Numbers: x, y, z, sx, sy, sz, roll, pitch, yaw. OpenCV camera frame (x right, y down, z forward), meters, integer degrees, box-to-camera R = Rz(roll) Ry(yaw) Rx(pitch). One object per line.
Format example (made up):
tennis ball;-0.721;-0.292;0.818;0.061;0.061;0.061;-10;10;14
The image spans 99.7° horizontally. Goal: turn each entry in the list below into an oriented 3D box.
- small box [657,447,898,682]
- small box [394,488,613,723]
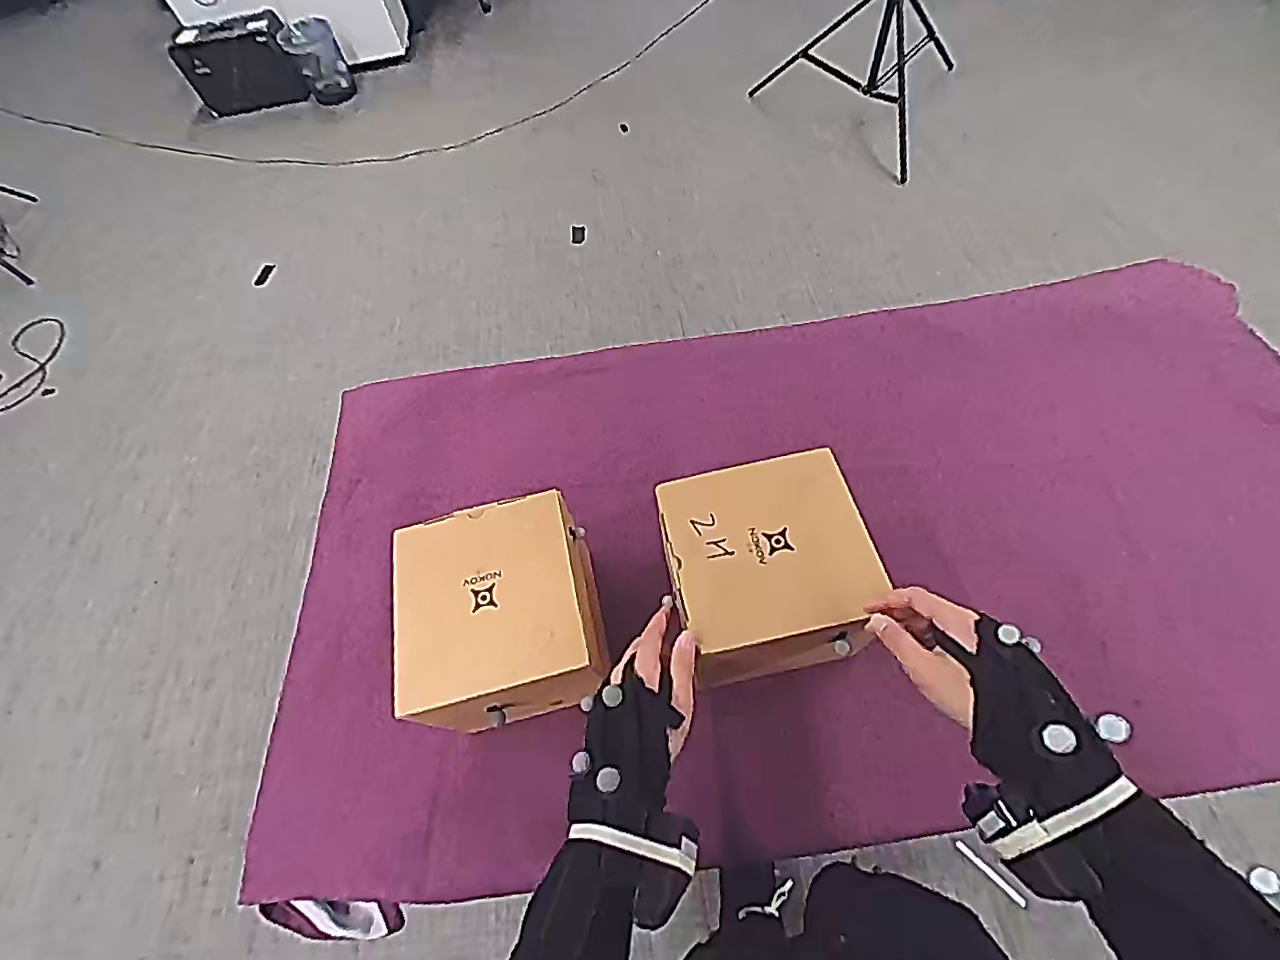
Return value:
small box;0.121;0.093;0.549;0.179;0.176;0.168;-13;59;0
small box;-0.132;0.139;0.555;0.168;0.176;0.179;-15;59;-2
